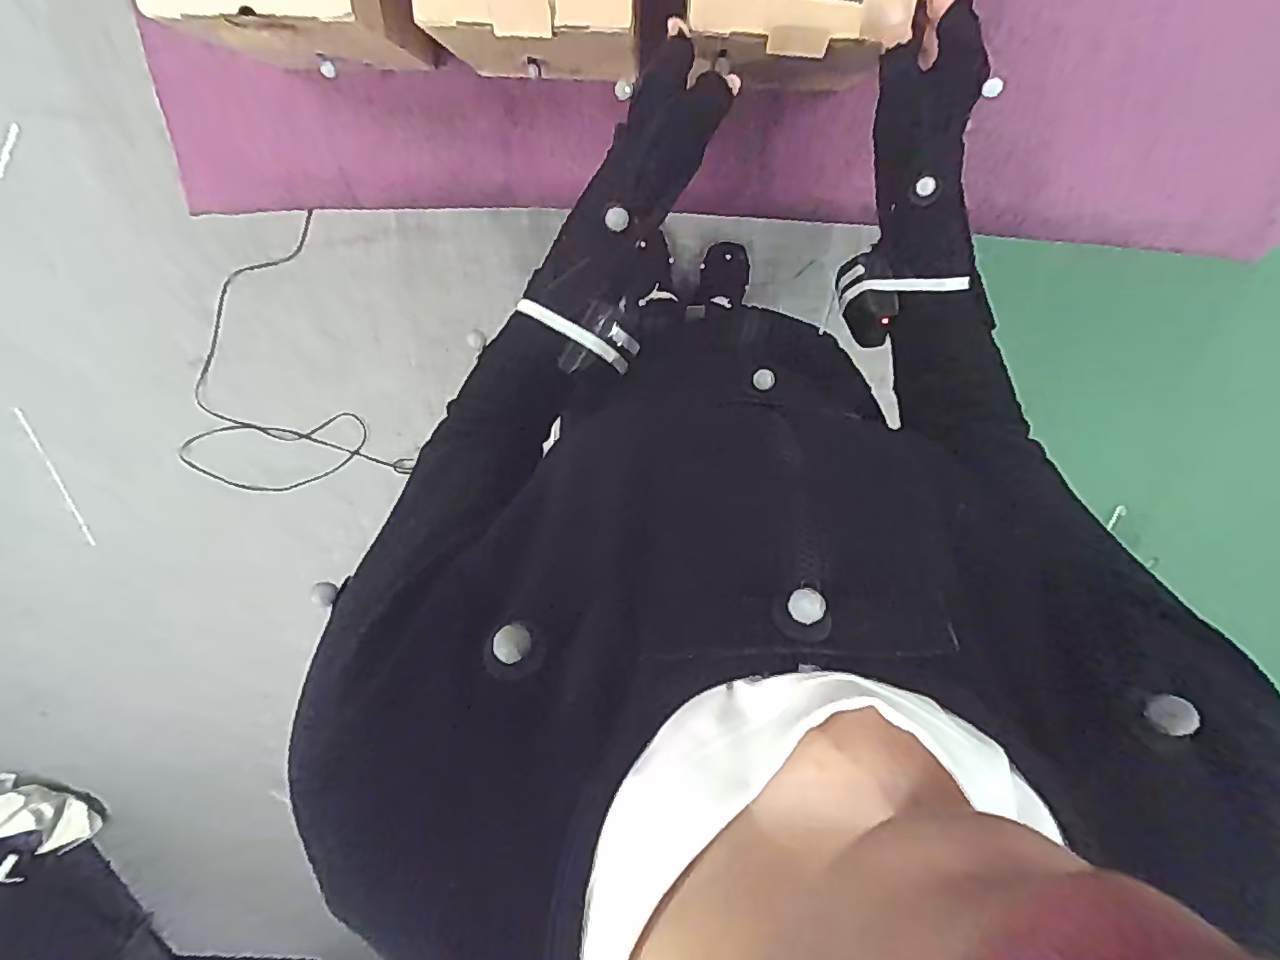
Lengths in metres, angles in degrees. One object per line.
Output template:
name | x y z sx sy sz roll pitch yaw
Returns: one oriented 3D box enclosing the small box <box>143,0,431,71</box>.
small box | -0.292 -0.467 0.446 0.168 0.176 0.179 2 117 1
